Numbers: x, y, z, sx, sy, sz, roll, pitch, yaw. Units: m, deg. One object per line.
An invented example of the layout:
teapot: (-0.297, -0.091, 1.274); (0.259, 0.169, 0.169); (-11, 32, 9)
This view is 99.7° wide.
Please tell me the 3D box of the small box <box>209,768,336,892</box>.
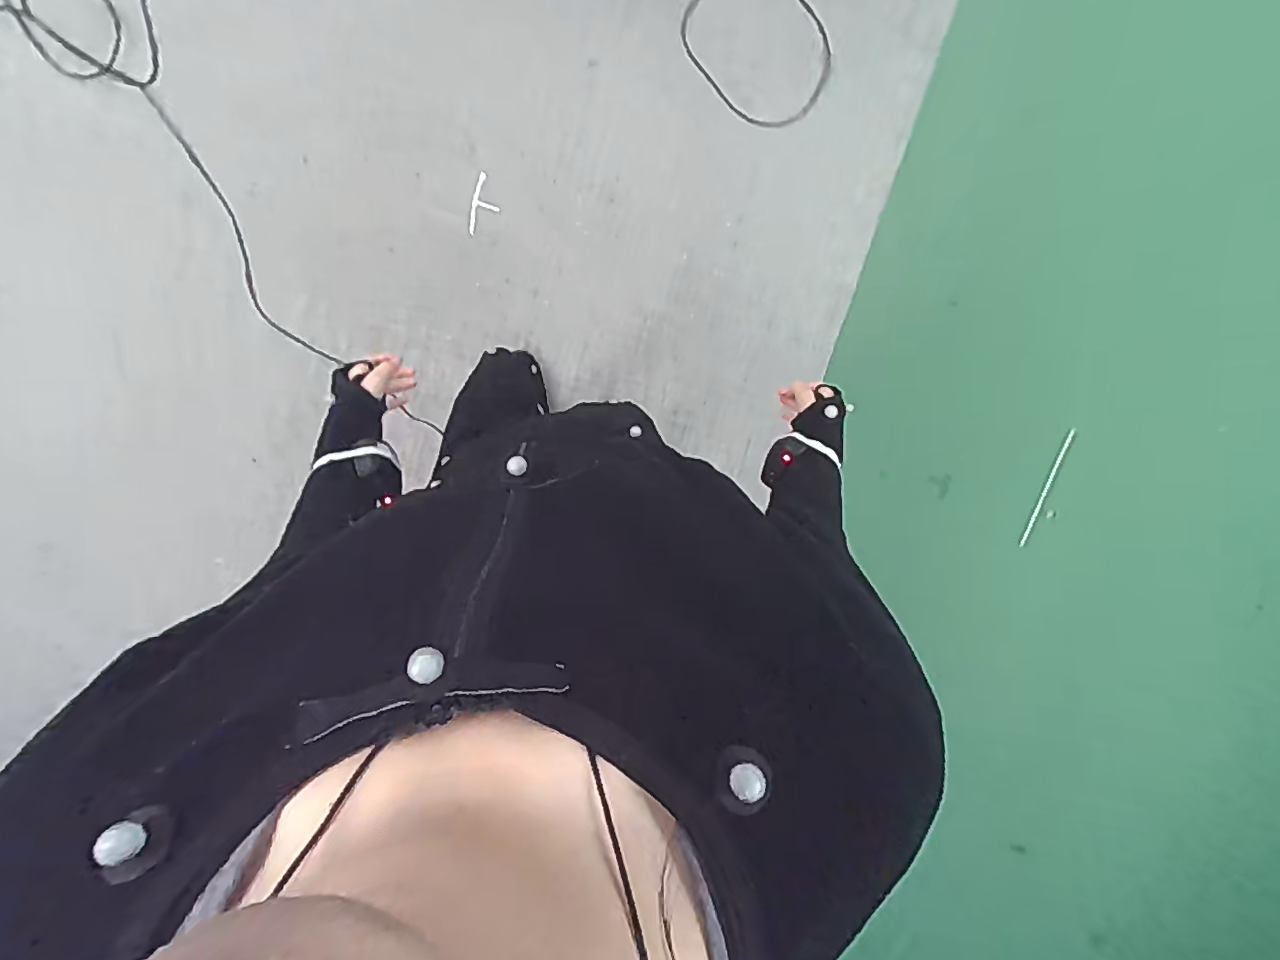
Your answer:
small box: (-0.890, 0.852, 1.330); (0.179, 0.176, 0.168); (28, 98, -10)
